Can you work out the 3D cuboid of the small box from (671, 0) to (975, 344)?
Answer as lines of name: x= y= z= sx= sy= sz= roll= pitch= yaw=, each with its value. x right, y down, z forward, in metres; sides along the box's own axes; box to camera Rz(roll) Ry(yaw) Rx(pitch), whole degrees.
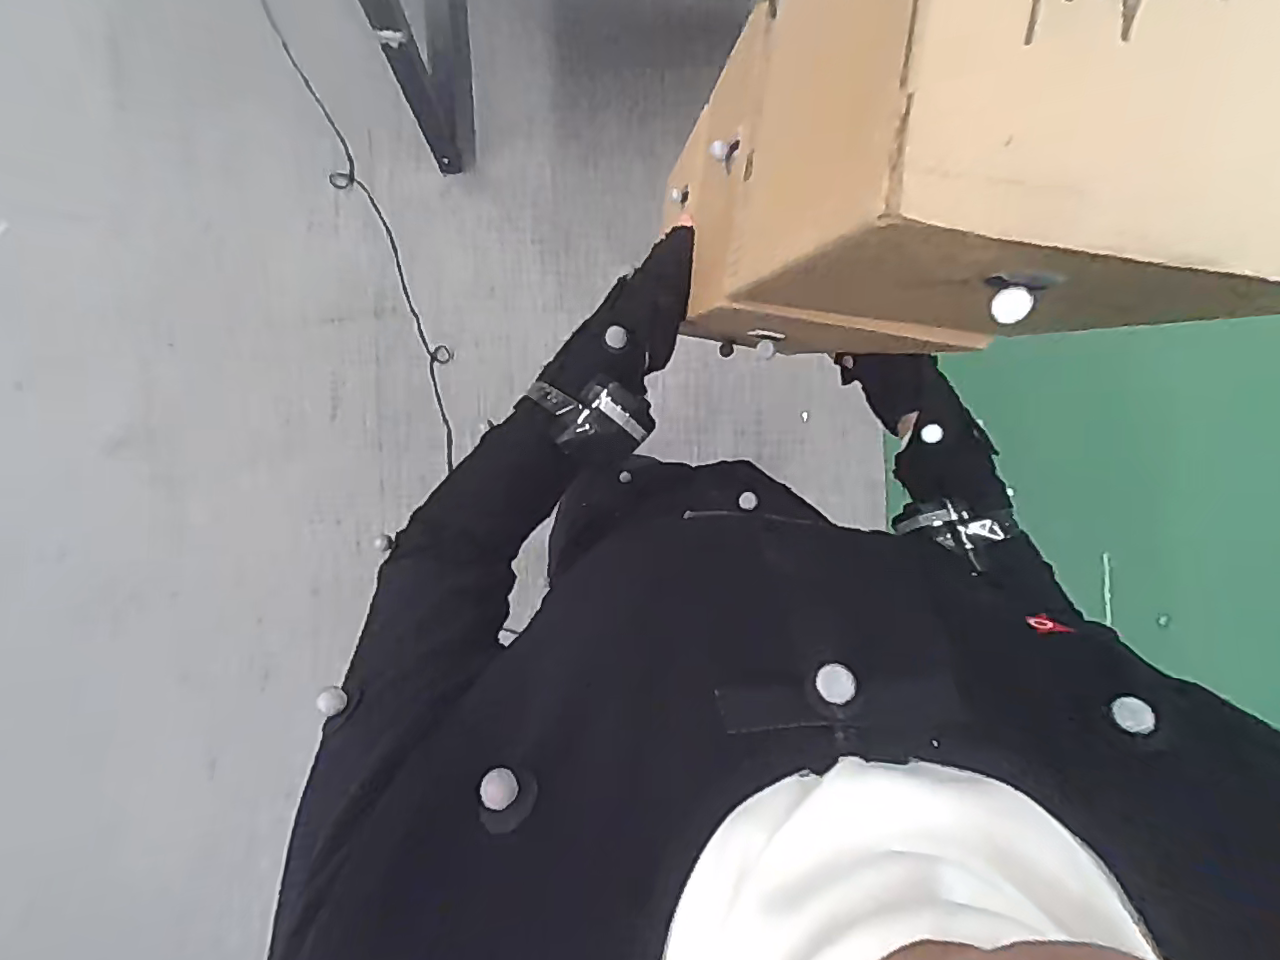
small box: x=0.123 y=-0.195 z=0.369 sx=0.168 sy=0.176 sz=0.179 roll=9 pitch=103 yaw=-7

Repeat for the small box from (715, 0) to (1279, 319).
small box: x=0.137 y=-0.160 z=0.210 sx=0.179 sy=0.176 sz=0.168 roll=6 pitch=102 yaw=-6

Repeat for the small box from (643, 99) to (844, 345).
small box: x=0.110 y=-0.230 z=0.528 sx=0.179 sy=0.176 sz=0.168 roll=9 pitch=102 yaw=-8
